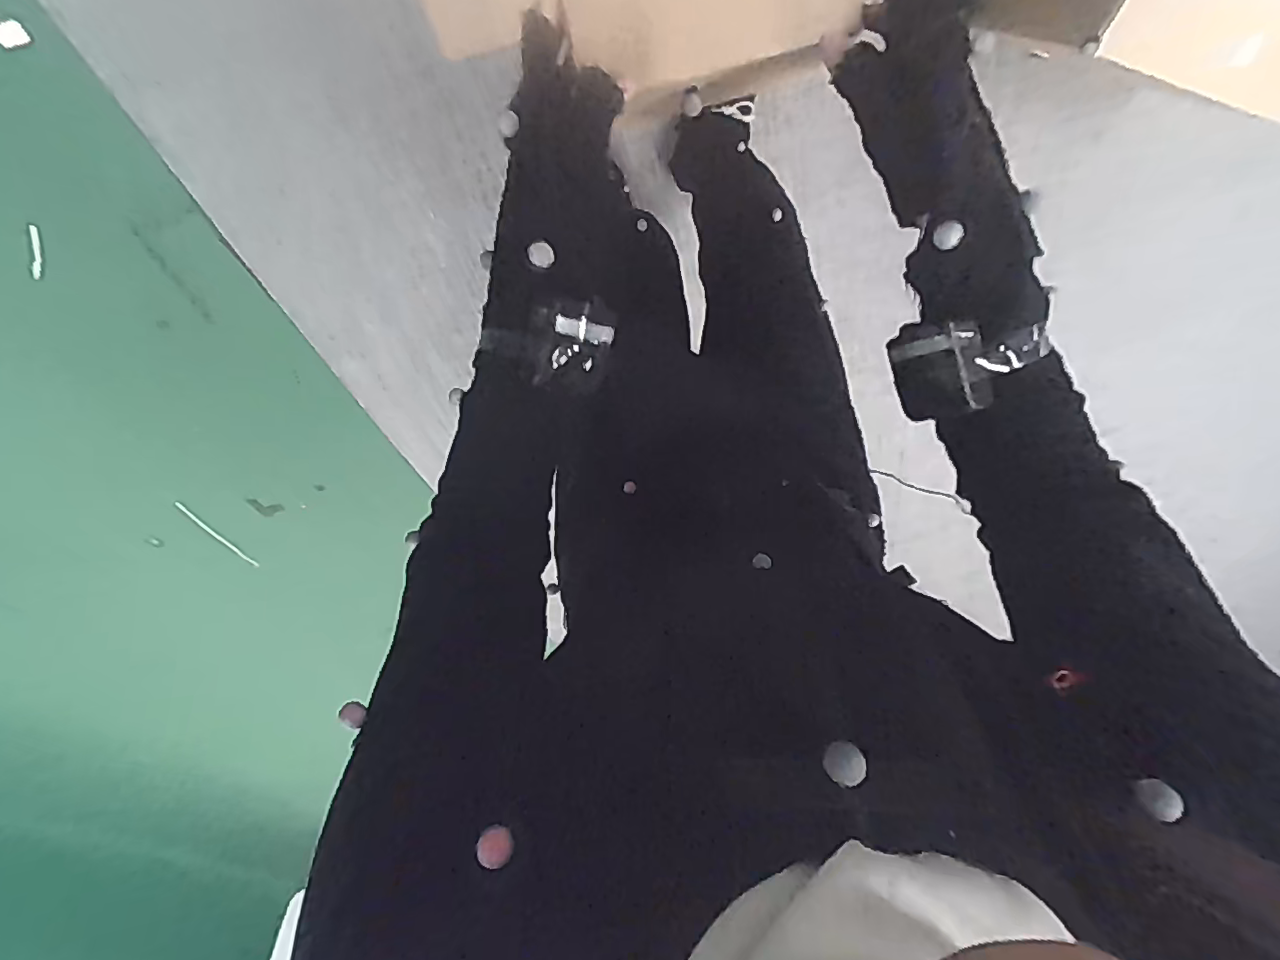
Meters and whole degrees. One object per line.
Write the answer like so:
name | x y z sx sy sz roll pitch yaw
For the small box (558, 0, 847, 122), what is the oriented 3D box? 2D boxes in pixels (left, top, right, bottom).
small box | 0.033 -0.377 0.380 0.179 0.176 0.168 -11 115 11
